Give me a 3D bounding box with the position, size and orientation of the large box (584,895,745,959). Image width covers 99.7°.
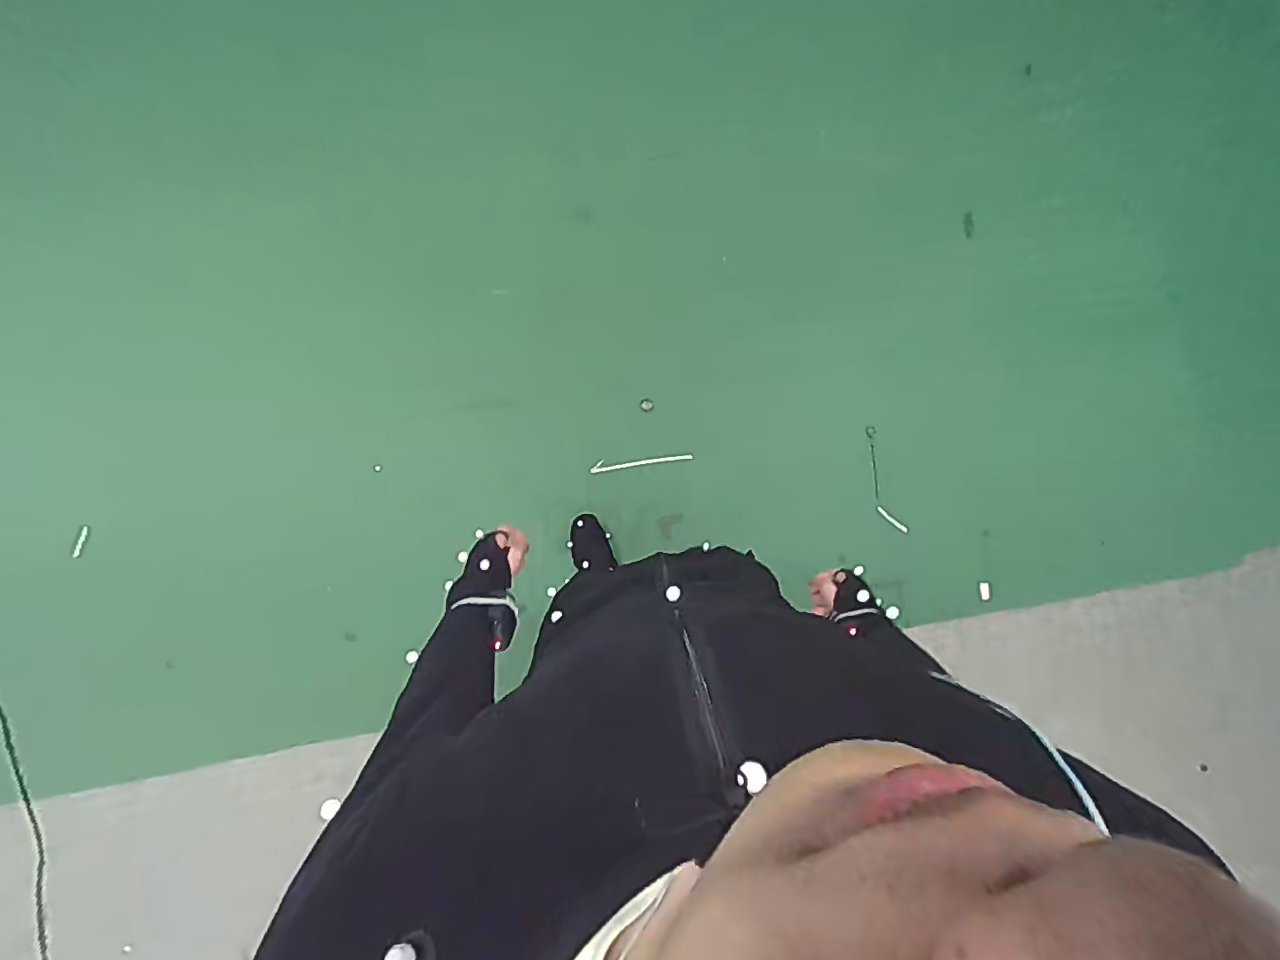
[{"bbox_3d":[0.051,1.362,1.417,0.408,0.320,0.320,10,85,-4],"label":"large box"}]
